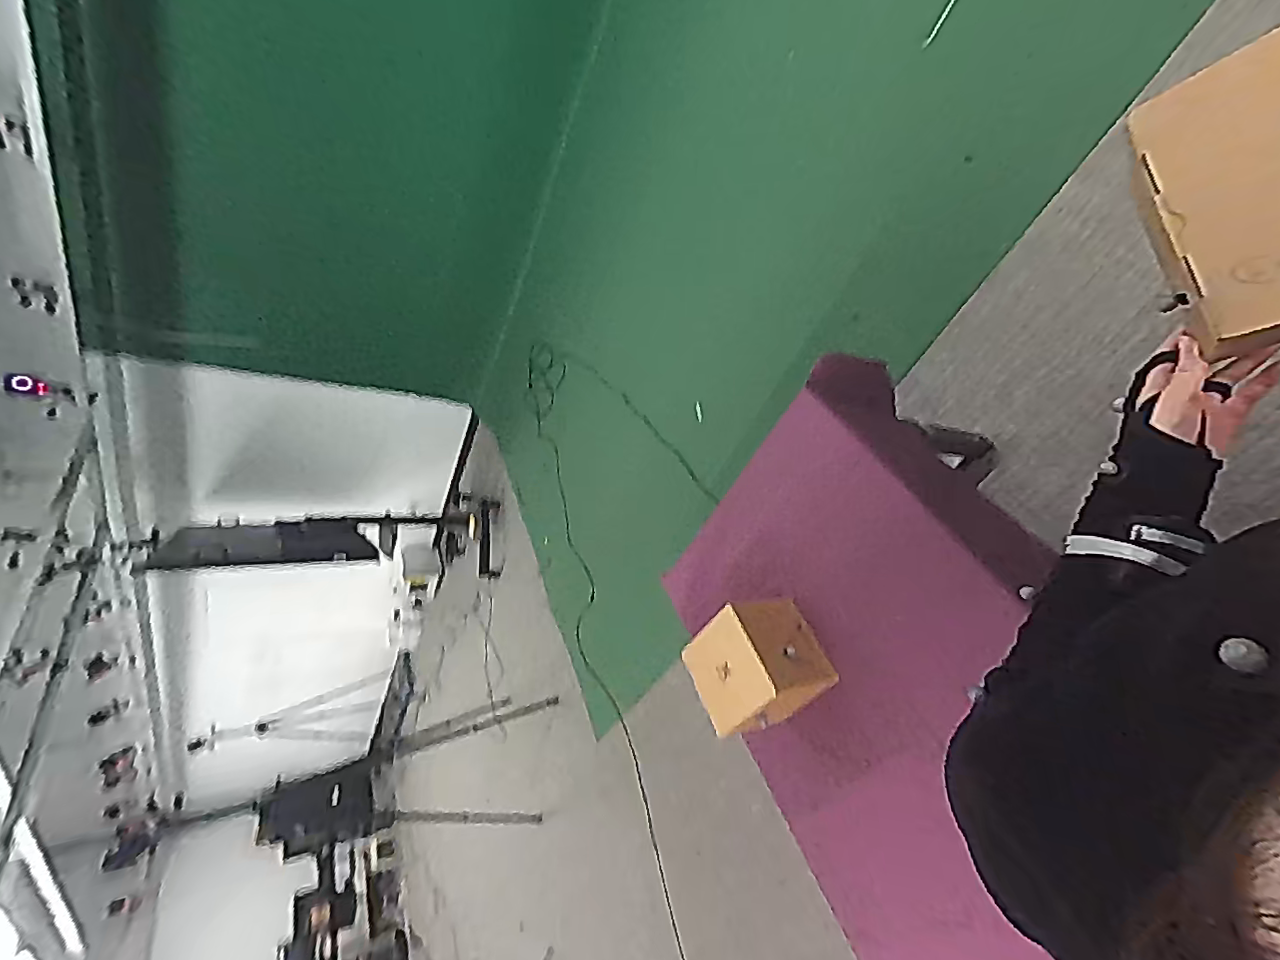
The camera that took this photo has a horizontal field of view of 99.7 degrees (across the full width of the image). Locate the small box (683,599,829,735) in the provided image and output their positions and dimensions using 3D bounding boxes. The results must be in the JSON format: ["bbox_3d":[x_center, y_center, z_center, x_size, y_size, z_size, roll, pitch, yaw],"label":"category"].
[{"bbox_3d":[0.215,0.334,0.988,0.179,0.176,0.168,-58,44,35],"label":"small box"}]

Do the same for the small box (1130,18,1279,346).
[{"bbox_3d":[0.458,-0.199,0.348,0.179,0.176,0.168,-19,81,43],"label":"small box"}]
